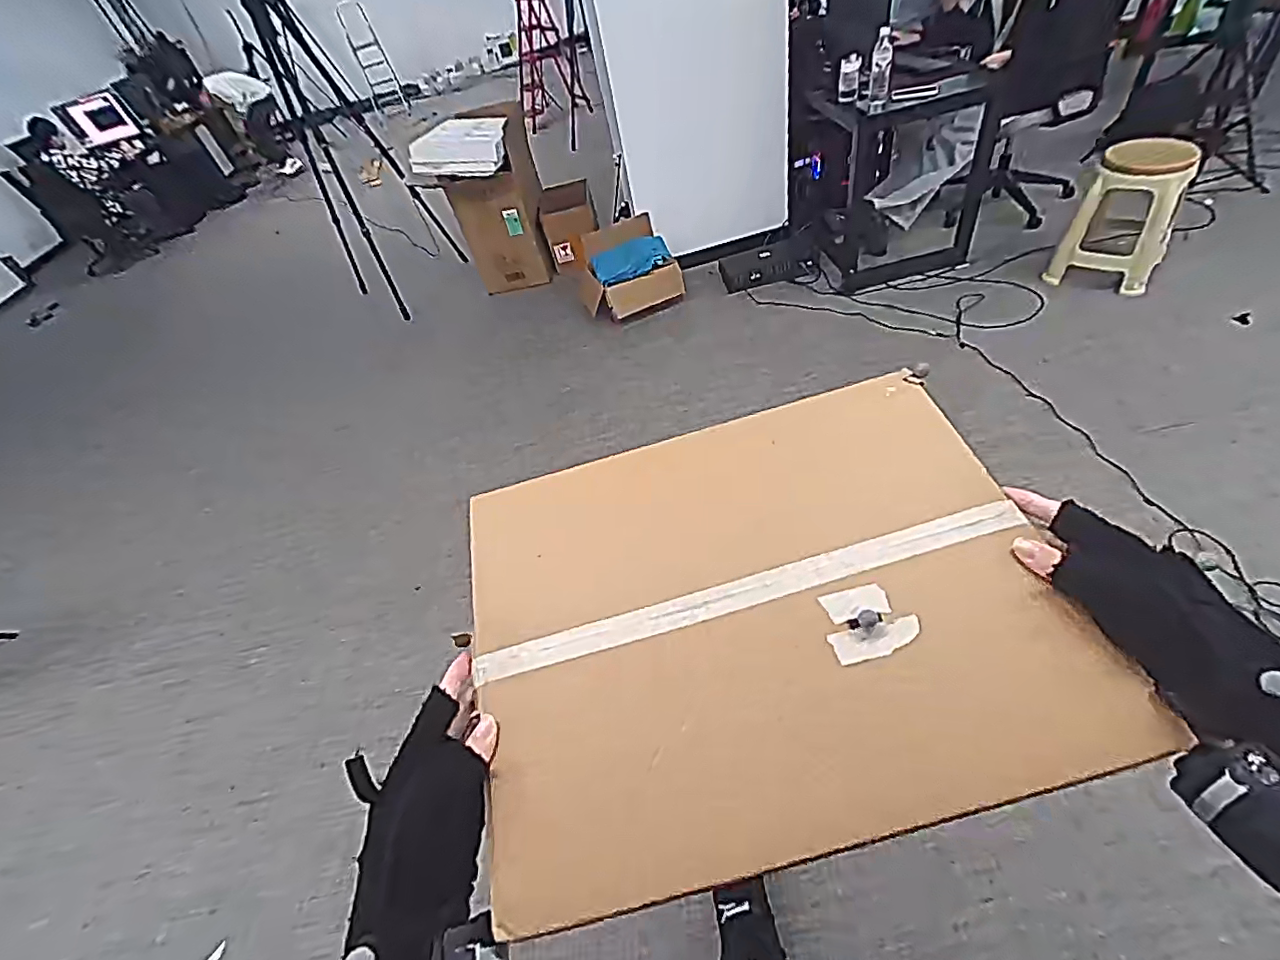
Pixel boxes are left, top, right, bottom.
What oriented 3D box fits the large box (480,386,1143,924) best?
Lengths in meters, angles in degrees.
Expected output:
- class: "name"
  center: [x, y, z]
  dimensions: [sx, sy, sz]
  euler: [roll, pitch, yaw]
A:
- class: "large box"
  center: [0.101, 0.171, 0.527]
  dimensions: [0.408, 0.320, 0.320]
  euler: [-16, 55, 0]
